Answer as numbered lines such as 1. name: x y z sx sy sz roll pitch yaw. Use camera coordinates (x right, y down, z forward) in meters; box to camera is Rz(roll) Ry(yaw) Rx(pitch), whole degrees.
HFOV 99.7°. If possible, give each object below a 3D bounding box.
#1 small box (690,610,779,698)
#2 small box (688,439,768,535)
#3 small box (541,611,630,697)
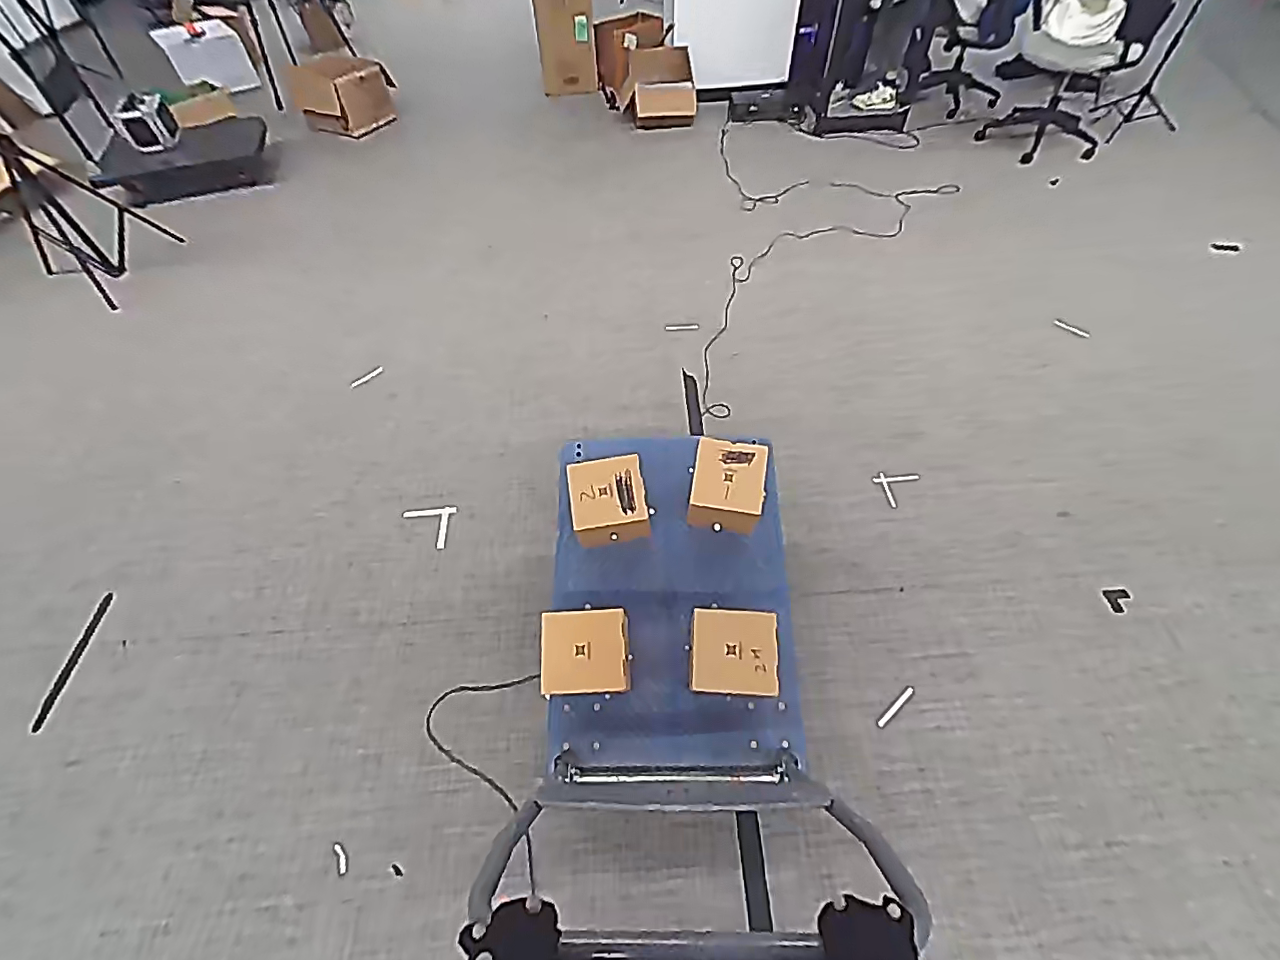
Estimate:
1. small box: 0.201 0.386 1.187 0.179 0.176 0.168 3 69 4
2. small box: 0.212 0.021 1.331 0.168 0.176 0.179 9 70 6
3. small box: -0.116 0.390 1.200 0.179 0.176 0.168 -3 68 -1
